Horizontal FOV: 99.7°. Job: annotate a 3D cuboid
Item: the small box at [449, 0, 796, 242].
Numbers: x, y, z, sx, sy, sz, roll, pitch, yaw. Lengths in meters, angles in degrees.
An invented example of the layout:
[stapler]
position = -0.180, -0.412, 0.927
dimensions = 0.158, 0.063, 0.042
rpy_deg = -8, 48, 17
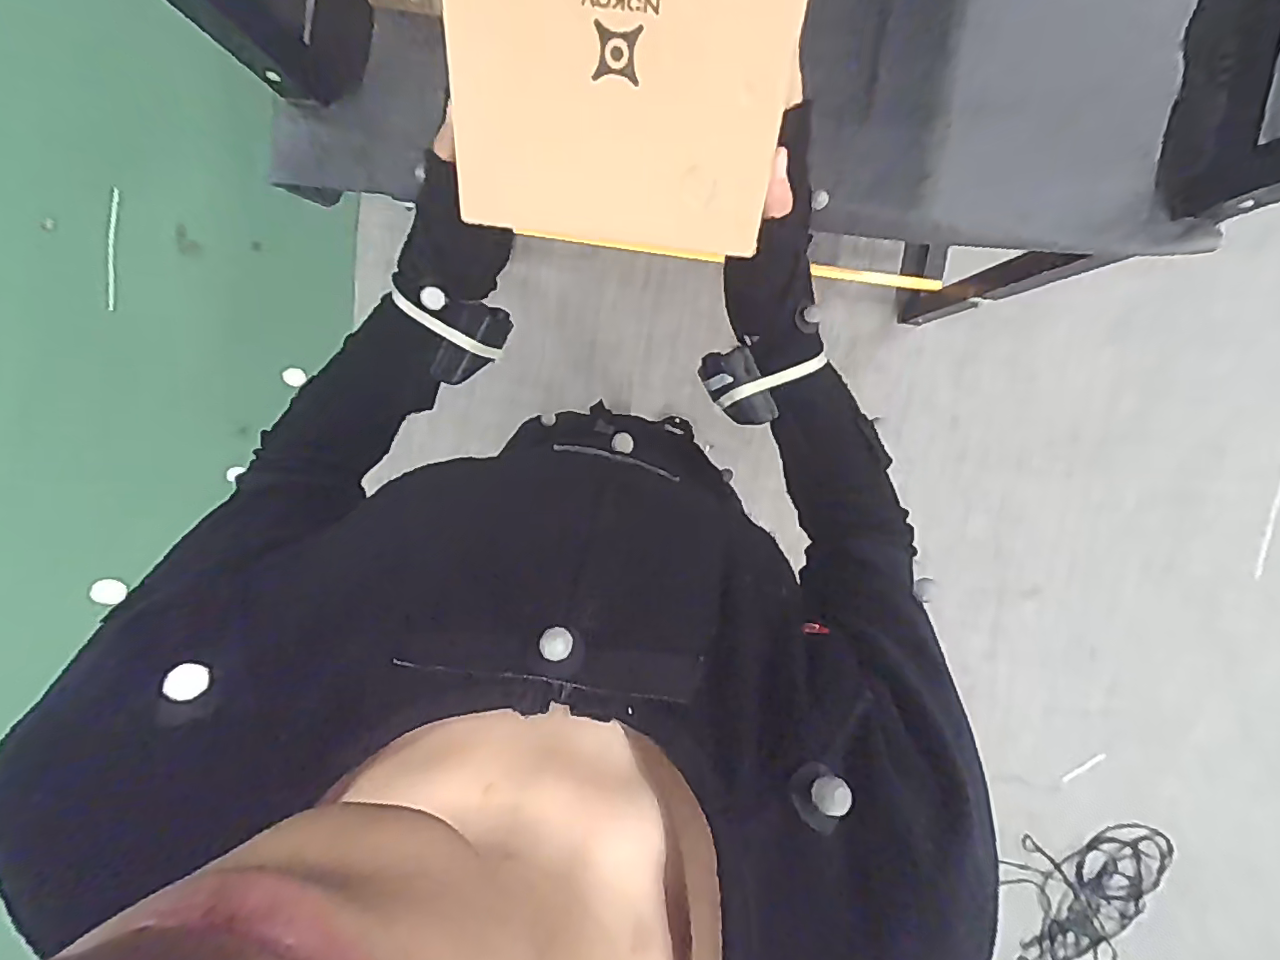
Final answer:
[small box]
position = -0.003, -0.261, 0.323
dimensions = 0.168, 0.176, 0.179
rpy_deg = 7, 125, 1
